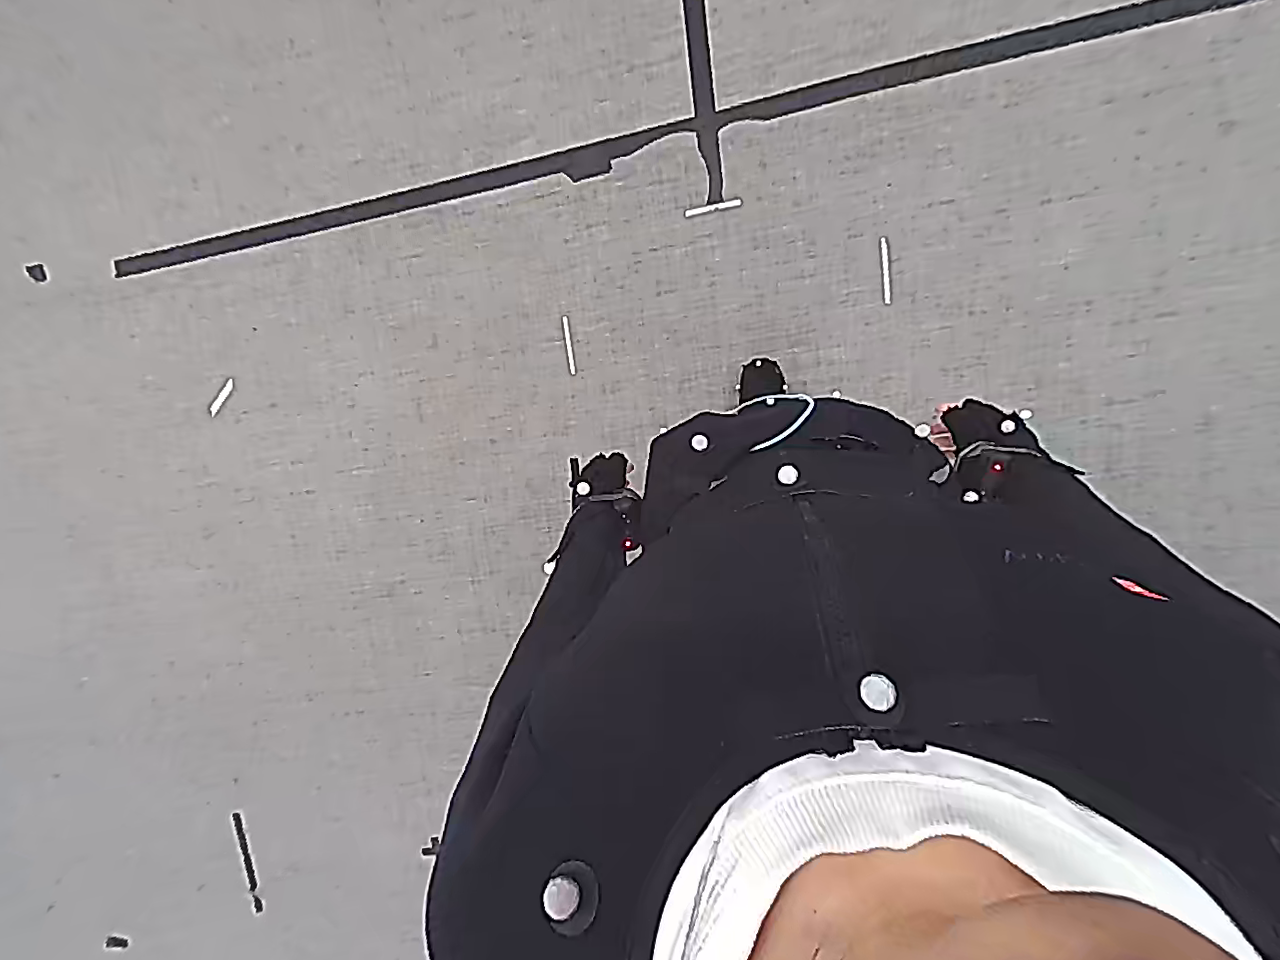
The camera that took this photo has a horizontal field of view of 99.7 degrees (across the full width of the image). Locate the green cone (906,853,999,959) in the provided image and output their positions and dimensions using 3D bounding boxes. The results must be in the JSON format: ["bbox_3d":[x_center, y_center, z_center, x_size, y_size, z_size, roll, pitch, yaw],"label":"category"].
[{"bbox_3d":[0.832,1.162,1.344,0.202,0.368,0.200,-6,98,8],"label":"green cone"}]

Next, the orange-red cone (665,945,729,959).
[{"bbox_3d":[0.150,1.571,1.520,0.199,0.360,0.198,-1,98,10],"label":"orange-red cone"}]
